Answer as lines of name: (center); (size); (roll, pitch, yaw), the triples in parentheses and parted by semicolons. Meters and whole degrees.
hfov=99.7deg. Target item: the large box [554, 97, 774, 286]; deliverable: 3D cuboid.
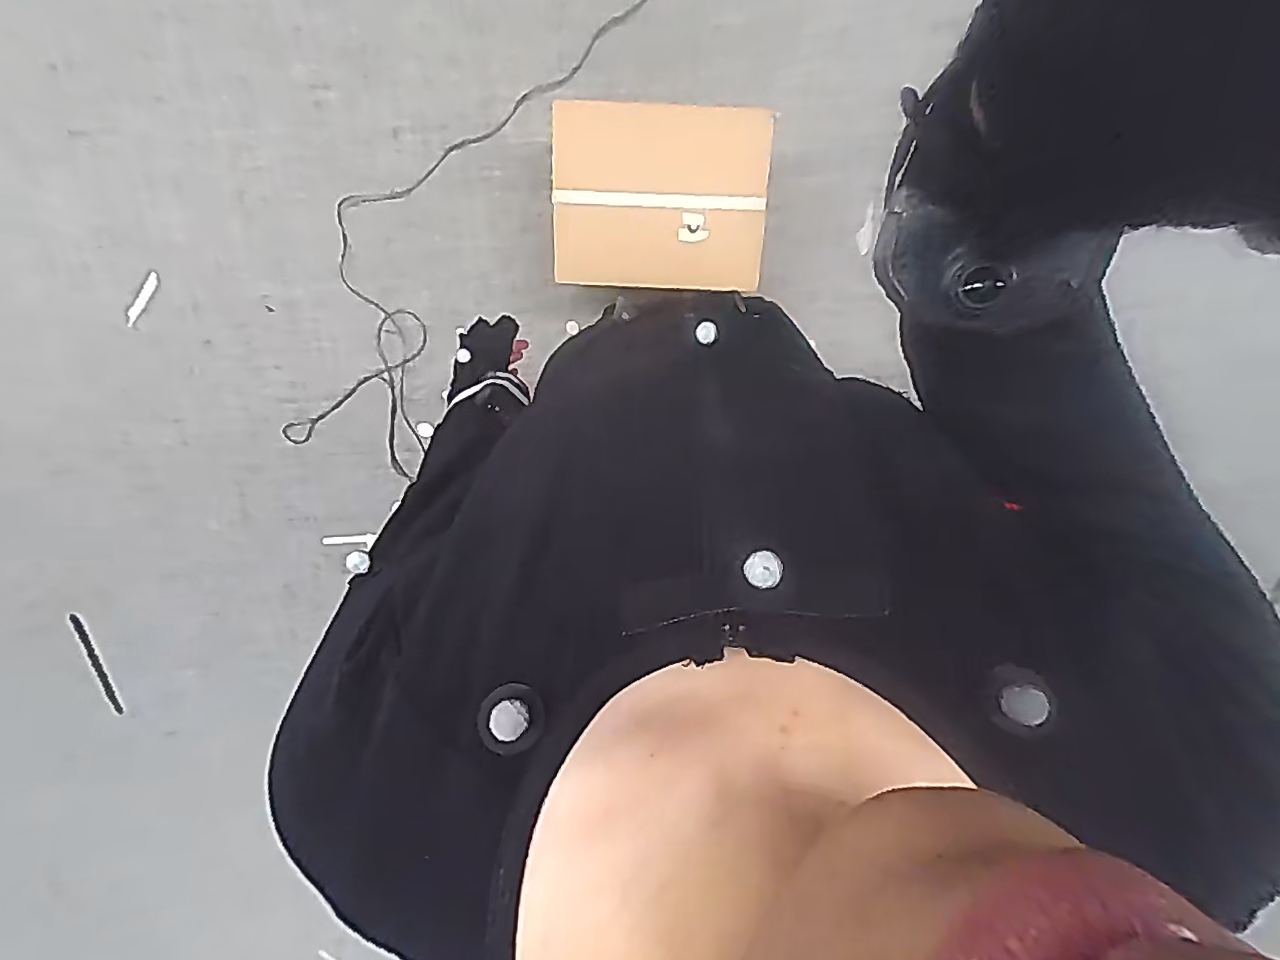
large box: (0.039, -0.583, 1.157); (0.408, 0.320, 0.320); (1, 110, -1)
